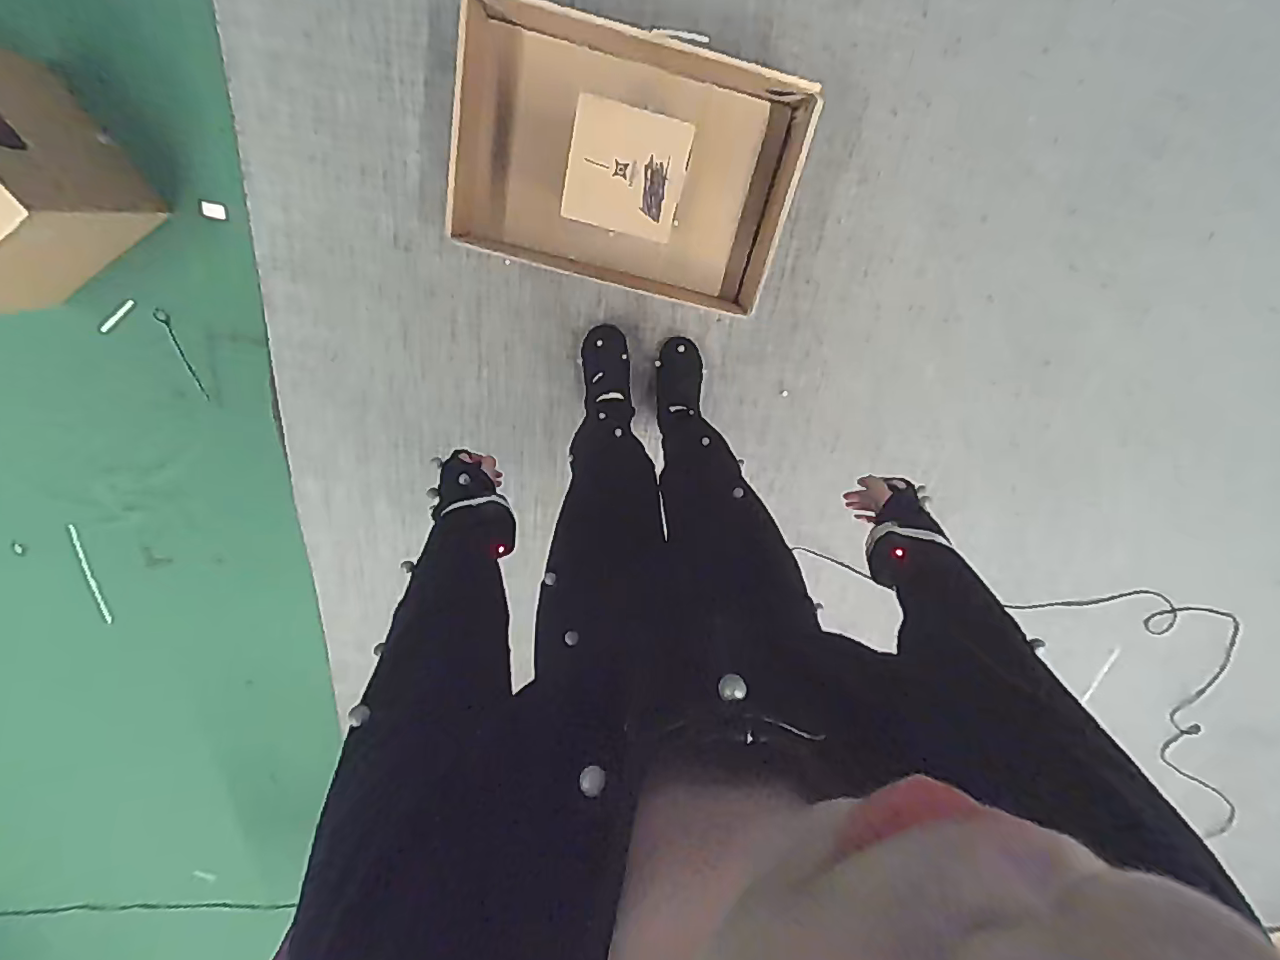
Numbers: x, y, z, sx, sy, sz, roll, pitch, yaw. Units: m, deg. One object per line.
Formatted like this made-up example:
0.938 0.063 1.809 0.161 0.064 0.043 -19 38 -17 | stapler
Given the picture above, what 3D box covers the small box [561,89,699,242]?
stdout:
-0.016 -0.498 0.872 0.179 0.176 0.168 13 116 -5 | small box
